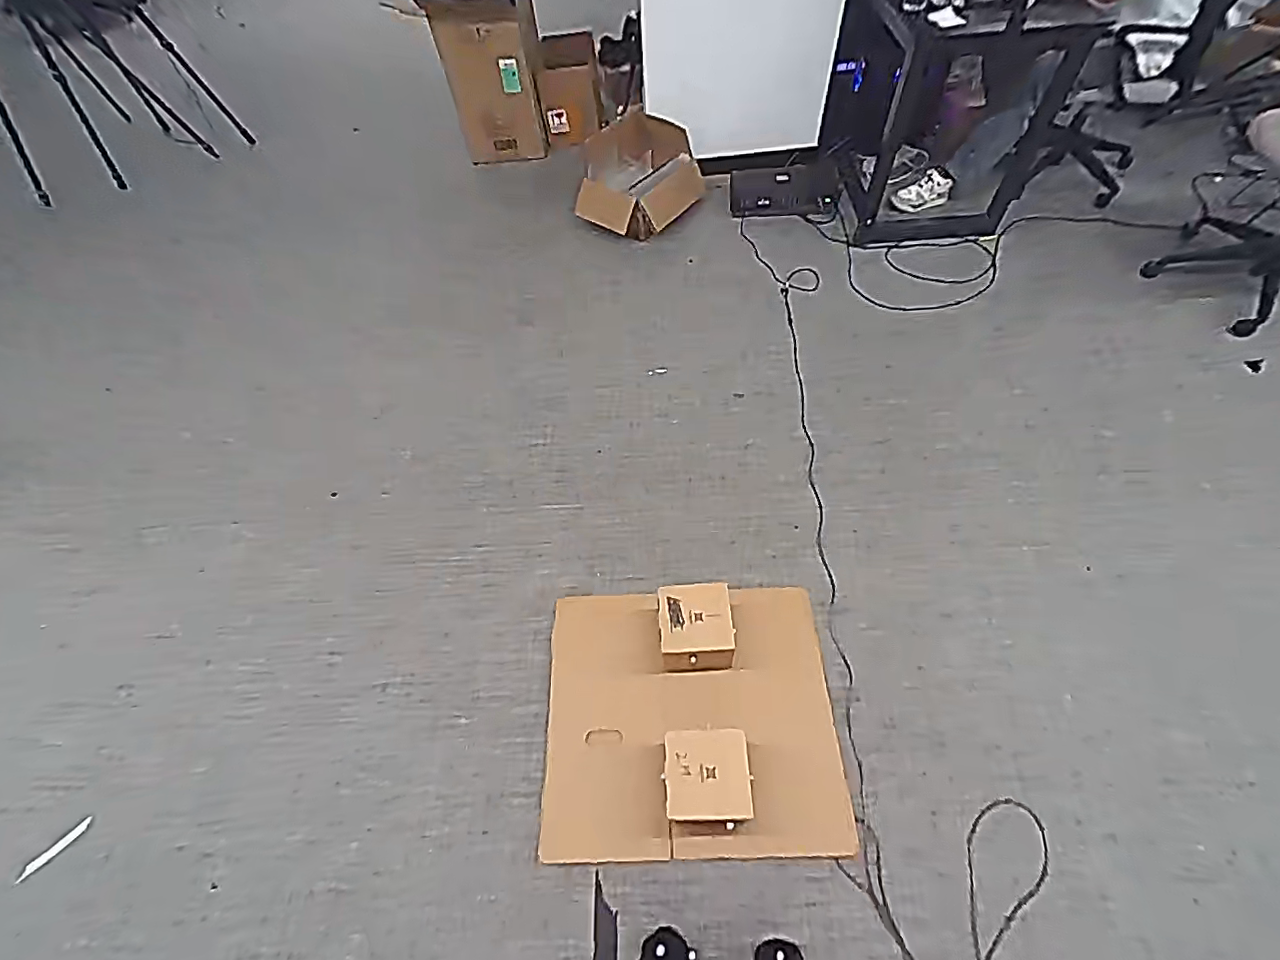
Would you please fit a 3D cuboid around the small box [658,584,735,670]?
[{"bbox_3d":[0.142,0.376,1.370,0.179,0.176,0.168,-5,57,3],"label":"small box"}]

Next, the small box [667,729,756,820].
[{"bbox_3d":[0.152,0.649,1.191,0.179,0.176,0.168,-4,57,5],"label":"small box"}]
